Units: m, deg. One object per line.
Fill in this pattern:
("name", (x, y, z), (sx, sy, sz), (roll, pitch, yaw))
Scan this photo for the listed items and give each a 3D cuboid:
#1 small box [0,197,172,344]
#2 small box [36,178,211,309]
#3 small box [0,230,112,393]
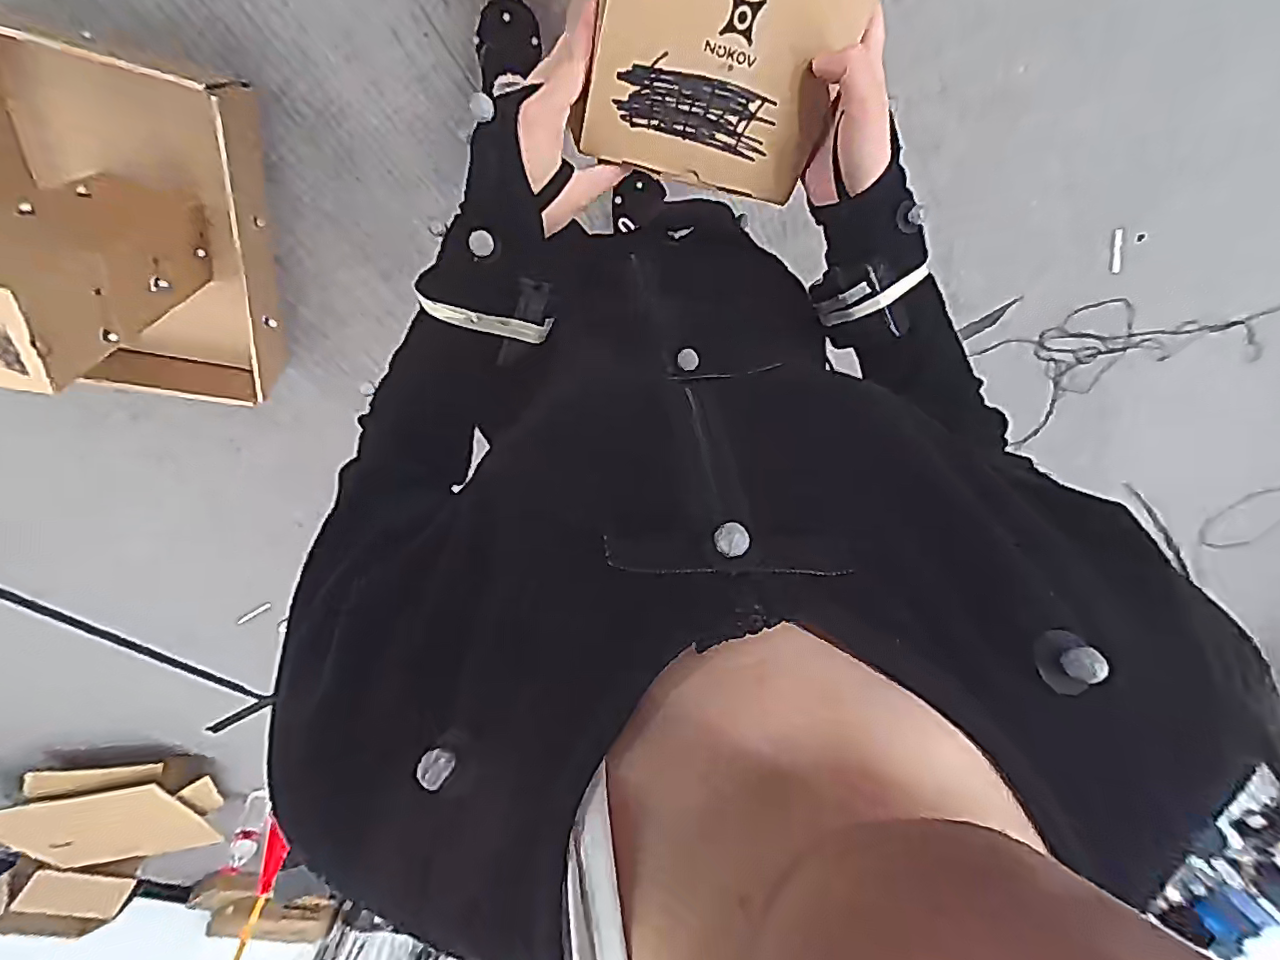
("small box", (-0.946, -0.356, 0.911), (0.179, 0.176, 0.168), (8, 128, -19))
("small box", (-0.969, -0.456, 1.036), (0.179, 0.176, 0.168), (10, 127, -19))
("small box", (-0.926, -0.252, 0.785), (0.179, 0.176, 0.168), (9, 127, -16))
